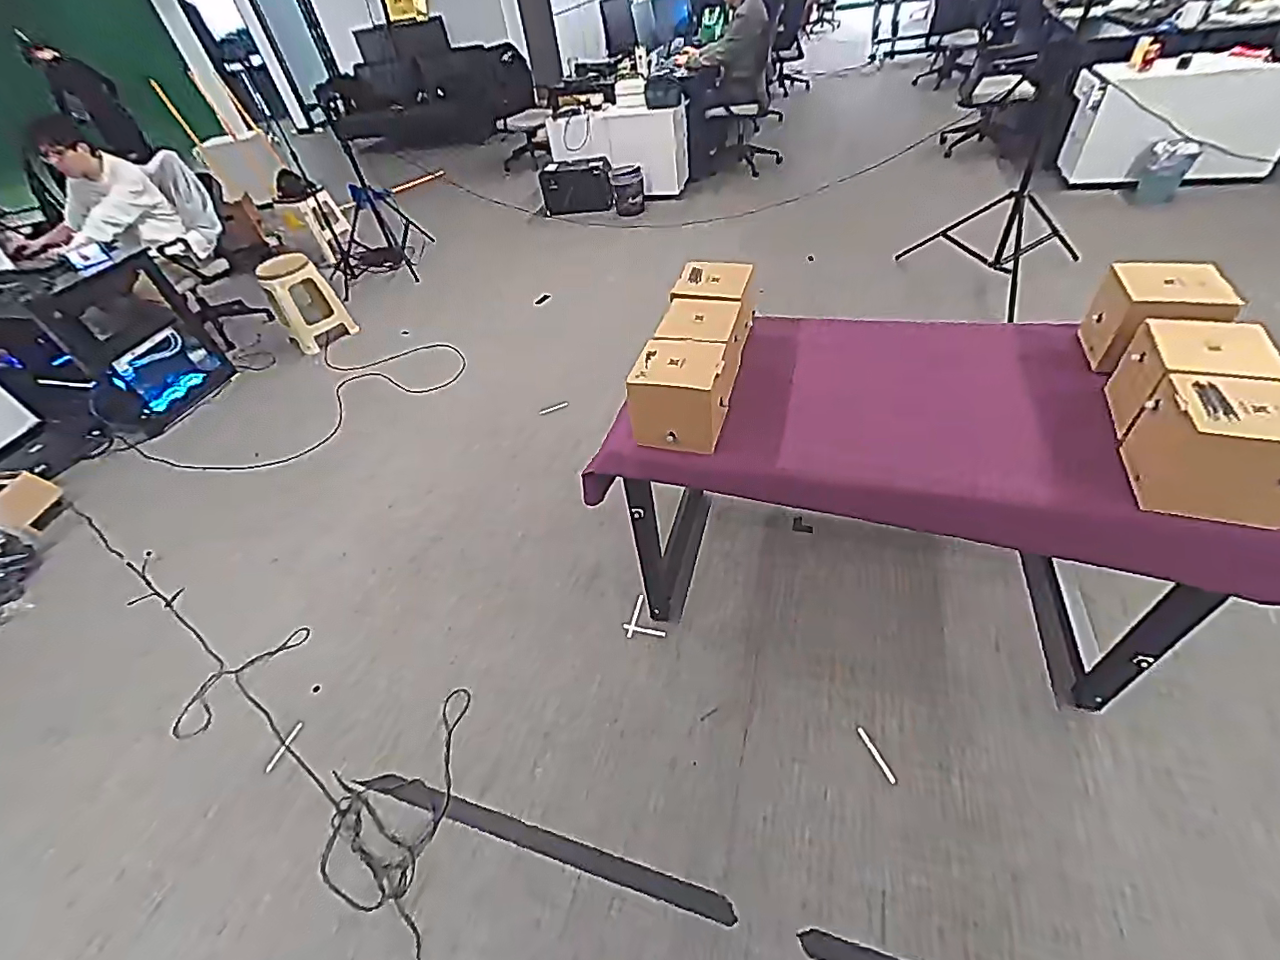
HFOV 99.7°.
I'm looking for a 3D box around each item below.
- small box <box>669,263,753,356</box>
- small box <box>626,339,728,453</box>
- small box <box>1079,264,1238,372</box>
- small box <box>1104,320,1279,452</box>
[{"bbox_3d":[0.185,-0.438,1.391,0.179,0.176,0.168,10,50,17],"label":"small box"},{"bbox_3d":[0.084,-0.177,1.153,0.179,0.176,0.168,9,47,16],"label":"small box"},{"bbox_3d":[1.066,-0.335,1.136,0.179,0.176,0.168,9,49,17],"label":"small box"},{"bbox_3d":[1.001,-0.173,0.996,0.168,0.176,0.179,11,47,21],"label":"small box"}]
